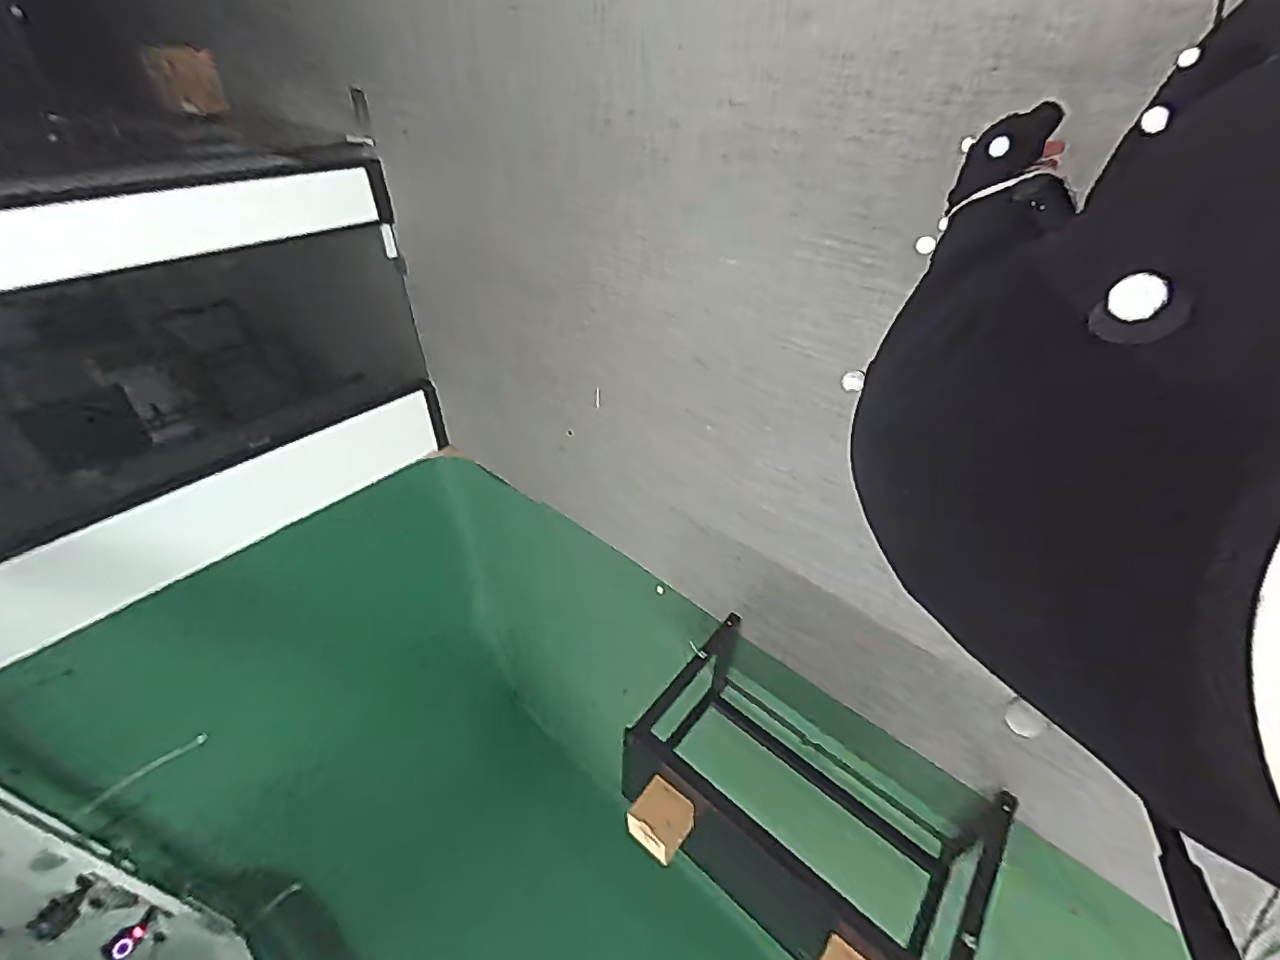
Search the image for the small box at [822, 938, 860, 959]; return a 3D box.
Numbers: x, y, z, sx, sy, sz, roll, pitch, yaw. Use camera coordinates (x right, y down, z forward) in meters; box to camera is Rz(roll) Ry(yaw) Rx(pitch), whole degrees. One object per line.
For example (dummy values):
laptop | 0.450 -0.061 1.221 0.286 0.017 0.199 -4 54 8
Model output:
small box | 0.604 1.530 1.607 0.168 0.176 0.179 23 132 35
